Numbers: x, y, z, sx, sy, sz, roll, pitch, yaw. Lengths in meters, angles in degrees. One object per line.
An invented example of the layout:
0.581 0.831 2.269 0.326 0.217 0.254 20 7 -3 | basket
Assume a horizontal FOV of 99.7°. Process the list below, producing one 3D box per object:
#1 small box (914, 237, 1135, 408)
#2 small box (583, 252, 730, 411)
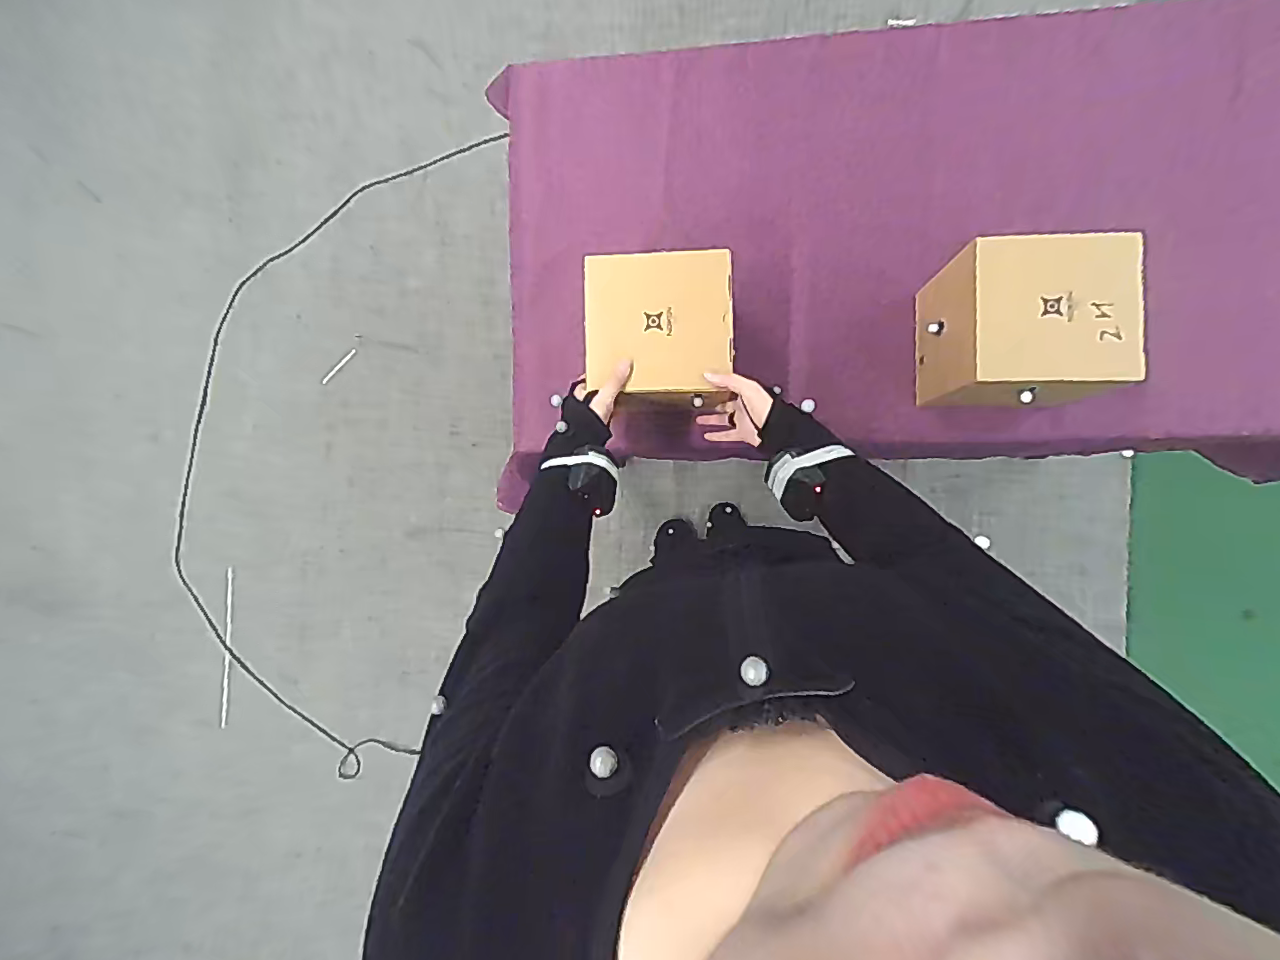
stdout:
0.465 -0.185 0.681 0.179 0.176 0.168 1 88 5 | small box
0.026 -0.184 0.720 0.179 0.176 0.168 -1 90 4 | small box
